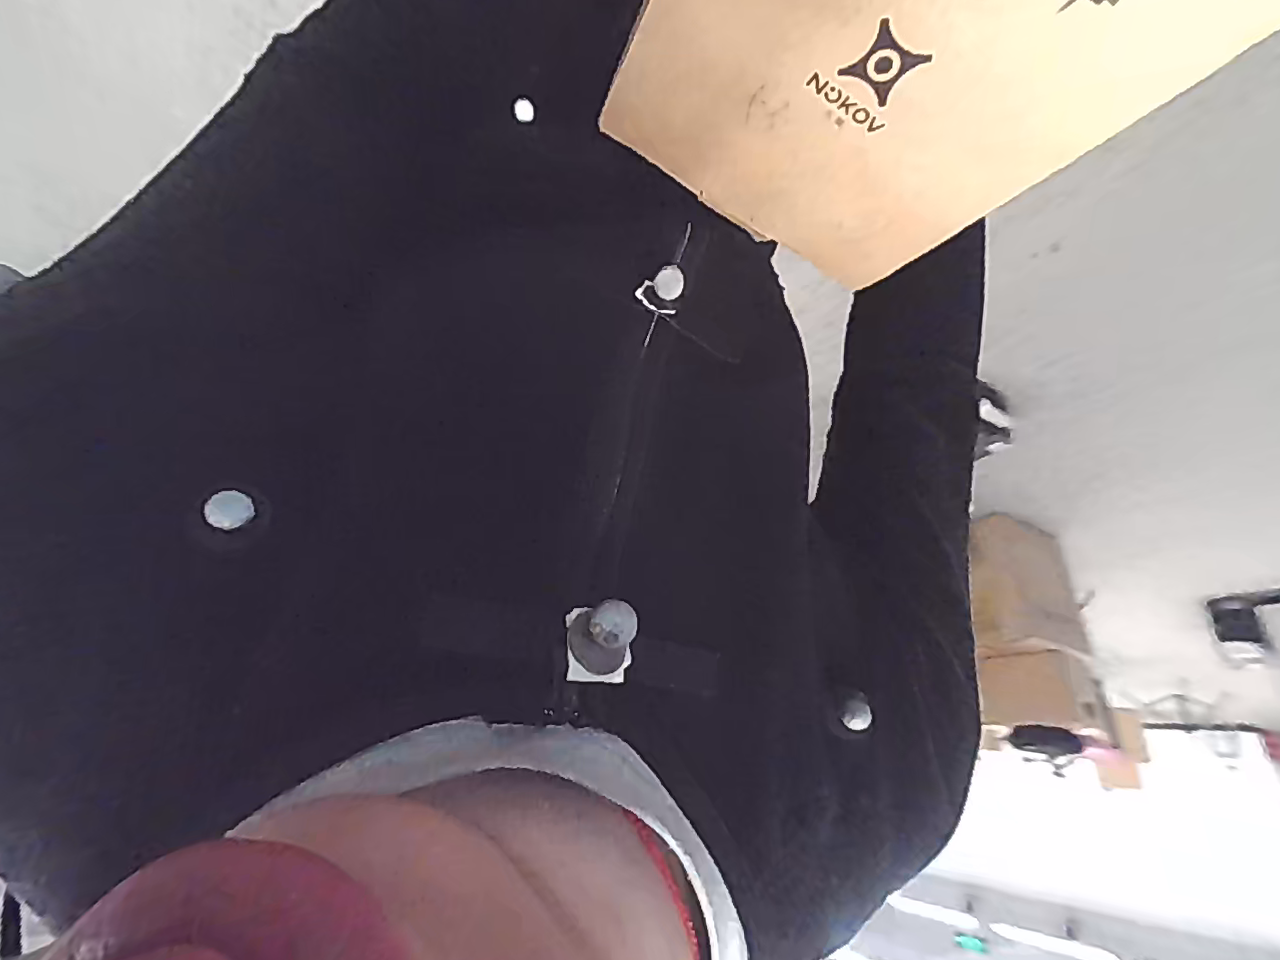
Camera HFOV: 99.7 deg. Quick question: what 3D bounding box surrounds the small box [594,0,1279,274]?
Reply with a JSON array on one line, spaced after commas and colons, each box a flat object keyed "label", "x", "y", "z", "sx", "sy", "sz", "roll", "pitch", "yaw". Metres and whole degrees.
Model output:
[{"label": "small box", "x": 0.103, "y": -0.225, "z": 0.213, "sx": 0.168, "sy": 0.176, "sz": 0.179, "roll": 21, "pitch": 167, "yaw": -18}]
